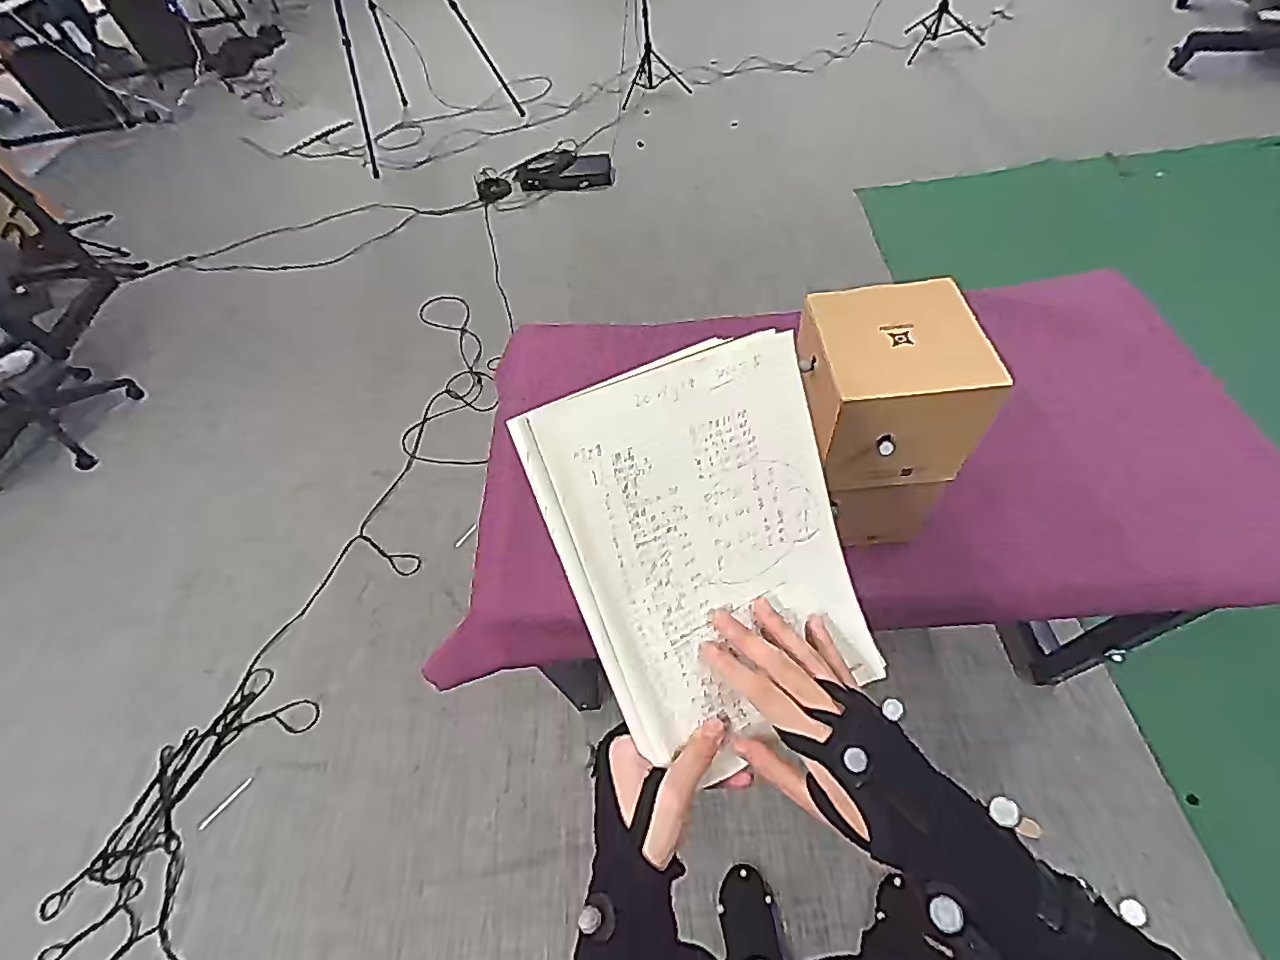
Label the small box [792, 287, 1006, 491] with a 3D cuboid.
[{"bbox_3d":[0.285,-0.099,0.644,0.168,0.176,0.179,-5,53,4],"label":"small box"}]
